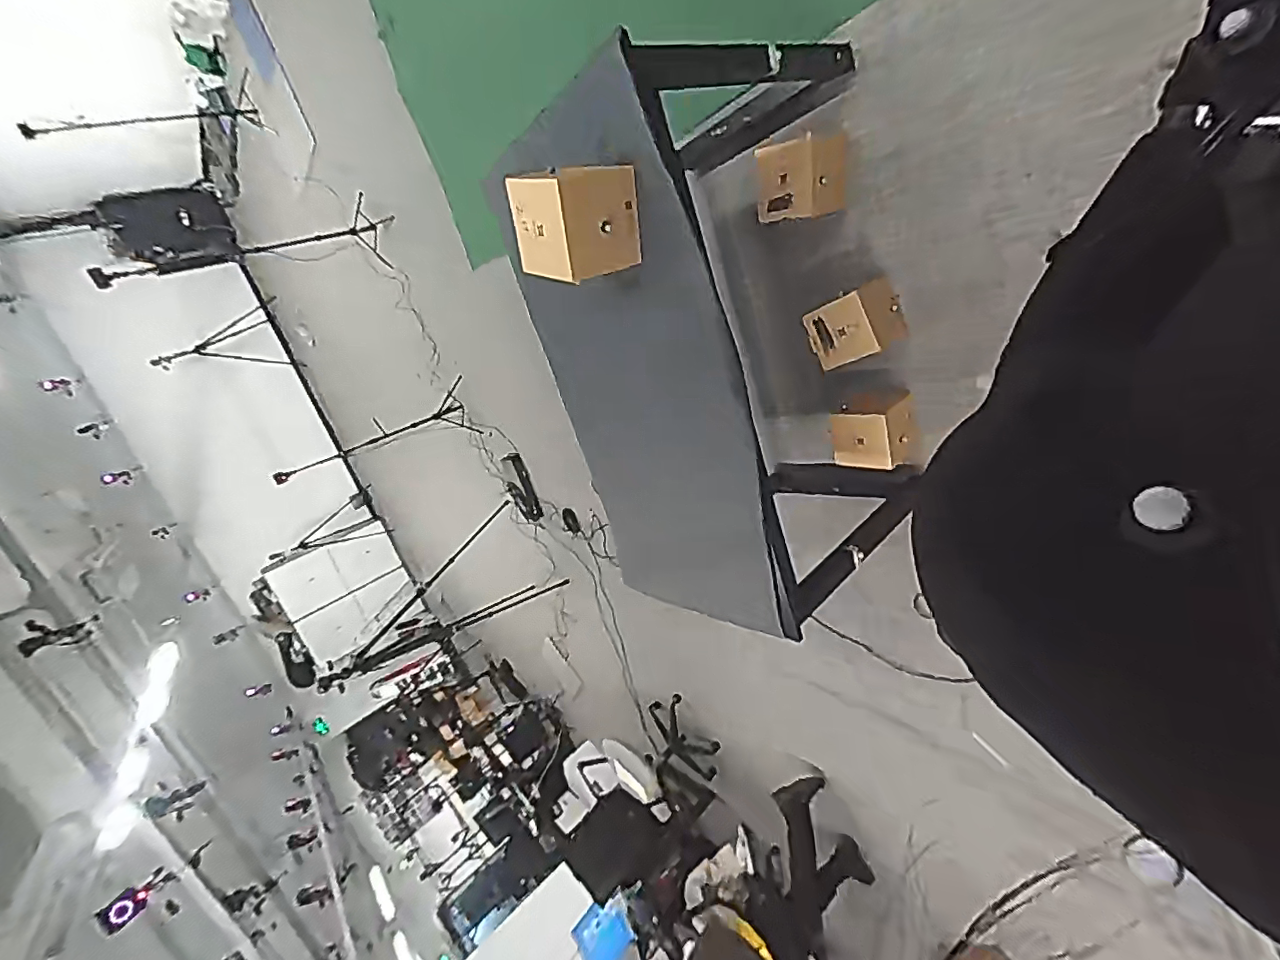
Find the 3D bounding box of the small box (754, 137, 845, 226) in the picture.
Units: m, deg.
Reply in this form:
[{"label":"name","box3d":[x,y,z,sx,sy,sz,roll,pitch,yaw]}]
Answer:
[{"label":"small box","box3d":[0.417,-0.774,1.406,0.168,0.176,0.179,19,128,44]}]

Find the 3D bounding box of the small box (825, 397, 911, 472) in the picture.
[{"label":"small box","box3d":[0.670,-0.136,1.575,0.179,0.176,0.168,9,123,50]}]

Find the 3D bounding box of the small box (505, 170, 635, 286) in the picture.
[{"label":"small box","box3d":[-0.120,-0.476,1.008,0.179,0.176,0.168,30,137,41]}]
